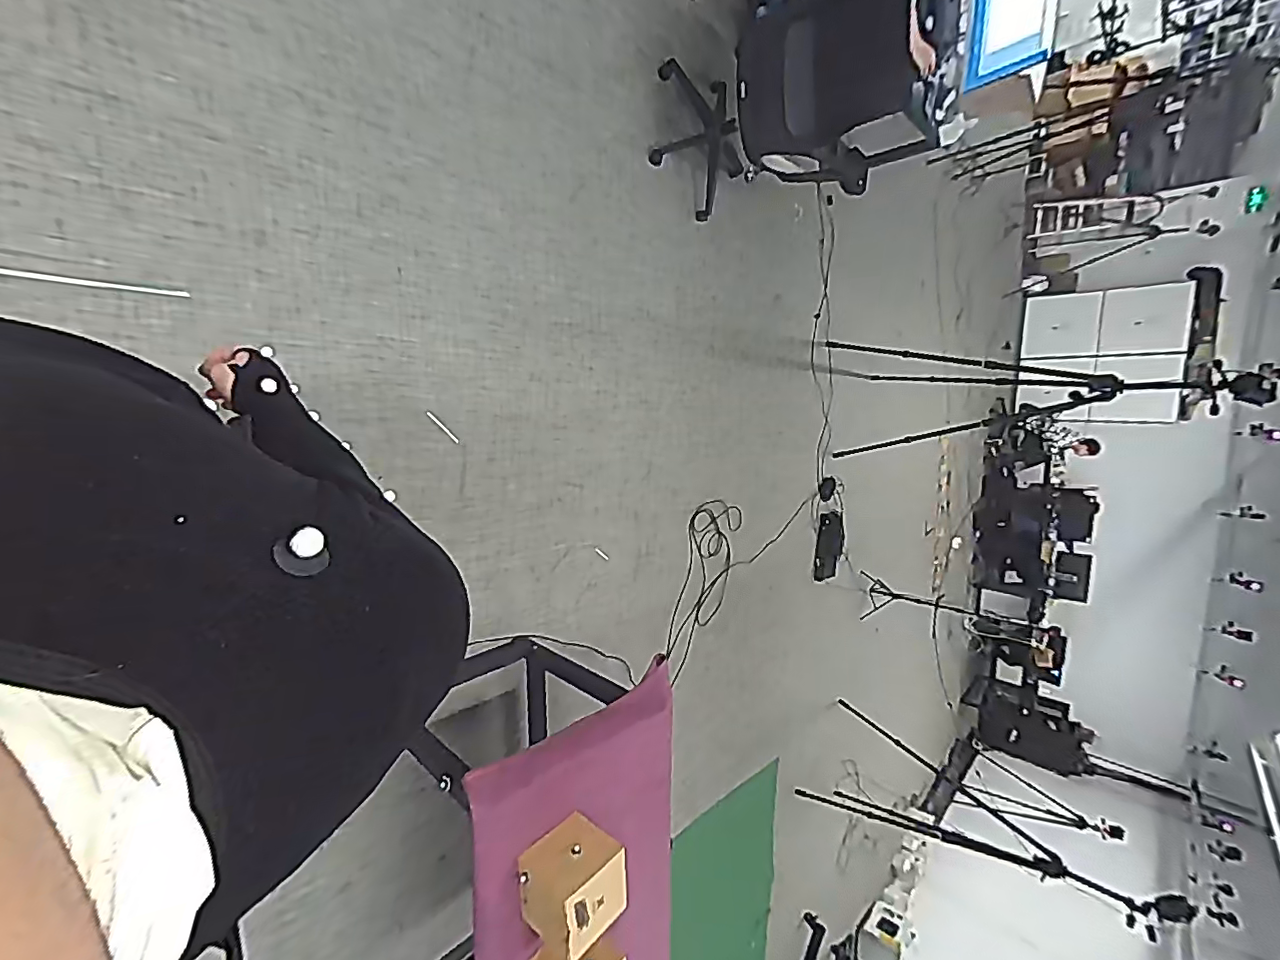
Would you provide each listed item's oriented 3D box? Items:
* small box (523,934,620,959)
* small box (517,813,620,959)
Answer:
[{"bbox_3d":[-0.165,1.192,1.269,0.179,0.176,0.168,-7,100,-45],"label":"small box"},{"bbox_3d":[-0.165,0.909,1.222,0.179,0.176,0.168,-12,105,-47],"label":"small box"}]
